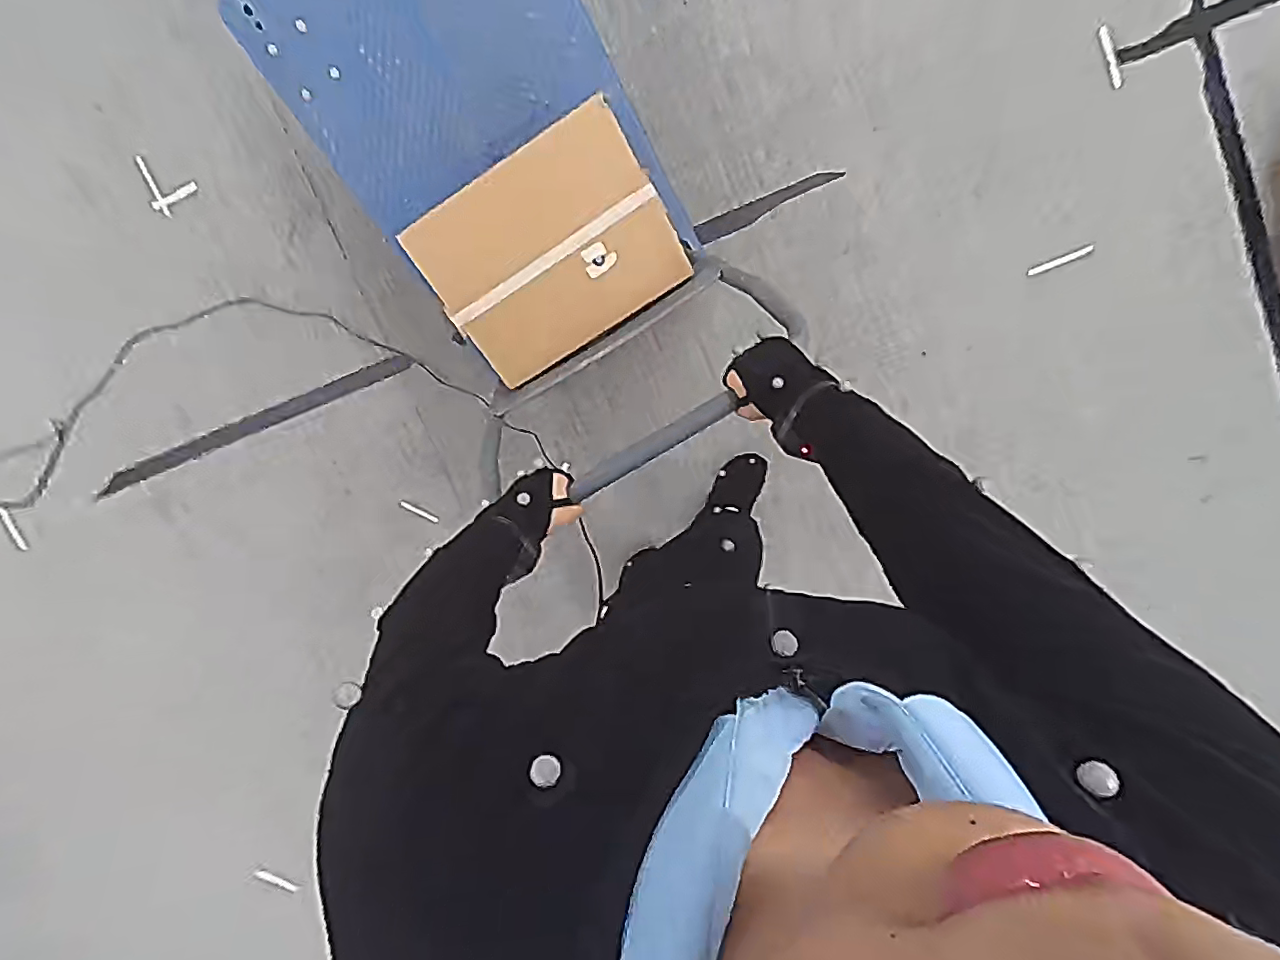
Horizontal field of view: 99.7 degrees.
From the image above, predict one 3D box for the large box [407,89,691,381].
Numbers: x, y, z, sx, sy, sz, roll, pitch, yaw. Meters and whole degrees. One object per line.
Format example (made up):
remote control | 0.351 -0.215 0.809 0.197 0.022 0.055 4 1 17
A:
large box | -0.170 -0.462 1.074 0.408 0.320 0.320 -32 116 6
